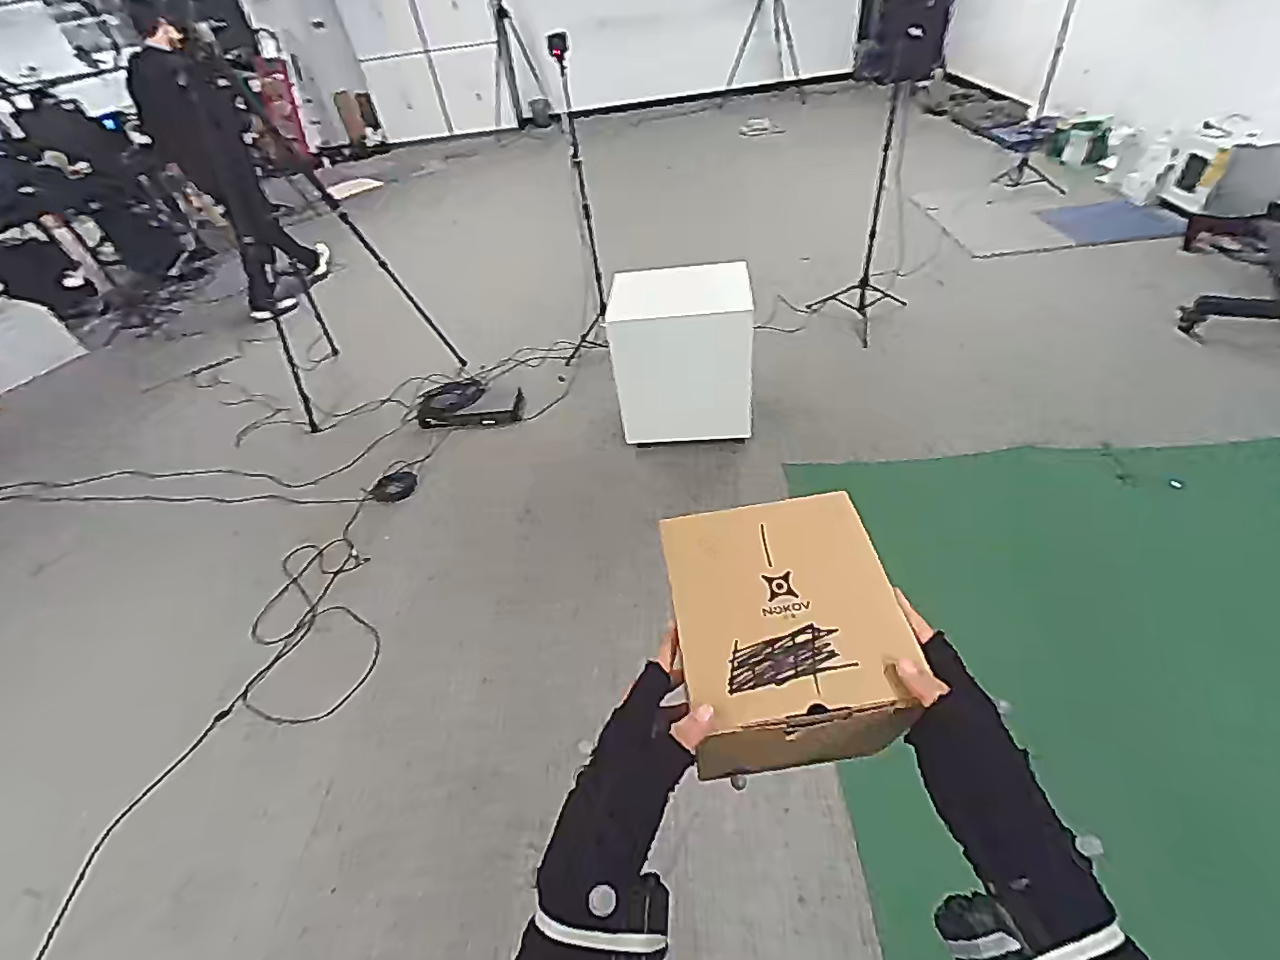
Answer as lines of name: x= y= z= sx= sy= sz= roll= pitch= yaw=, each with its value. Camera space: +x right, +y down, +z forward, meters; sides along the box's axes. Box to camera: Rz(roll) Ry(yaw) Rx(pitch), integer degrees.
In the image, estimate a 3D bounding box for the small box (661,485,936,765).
small box: x=0.114 y=0.132 z=0.466 sx=0.168 sy=0.176 sz=0.179 roll=-8 pitch=50 yaw=0
